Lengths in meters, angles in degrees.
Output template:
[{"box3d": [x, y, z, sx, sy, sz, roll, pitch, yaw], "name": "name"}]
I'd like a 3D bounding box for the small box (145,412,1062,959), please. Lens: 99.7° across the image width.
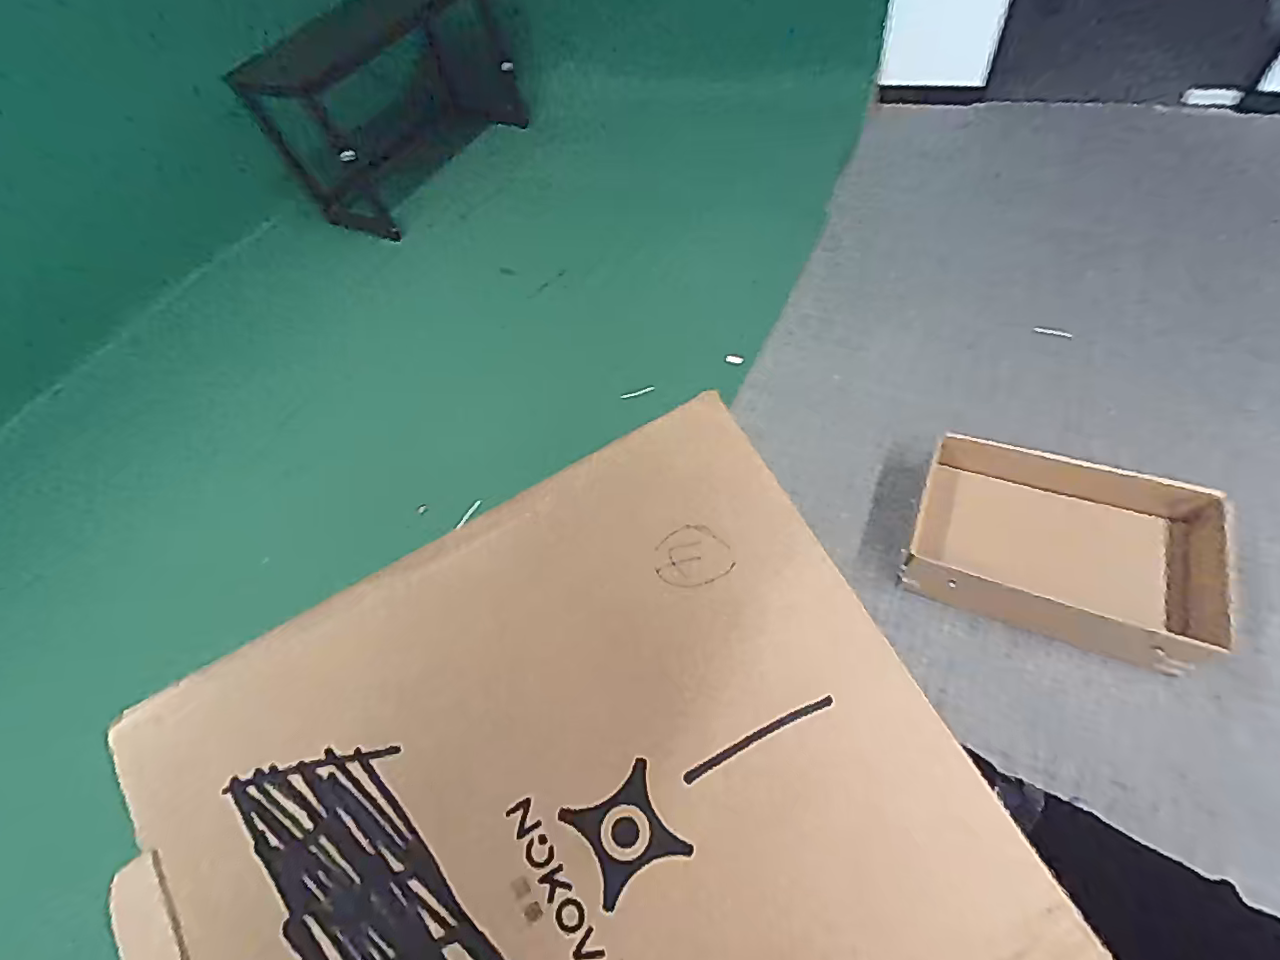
[{"box3d": [-0.015, 0.109, 0.209, 0.179, 0.176, 0.168, -29, 76, -9], "name": "small box"}]
